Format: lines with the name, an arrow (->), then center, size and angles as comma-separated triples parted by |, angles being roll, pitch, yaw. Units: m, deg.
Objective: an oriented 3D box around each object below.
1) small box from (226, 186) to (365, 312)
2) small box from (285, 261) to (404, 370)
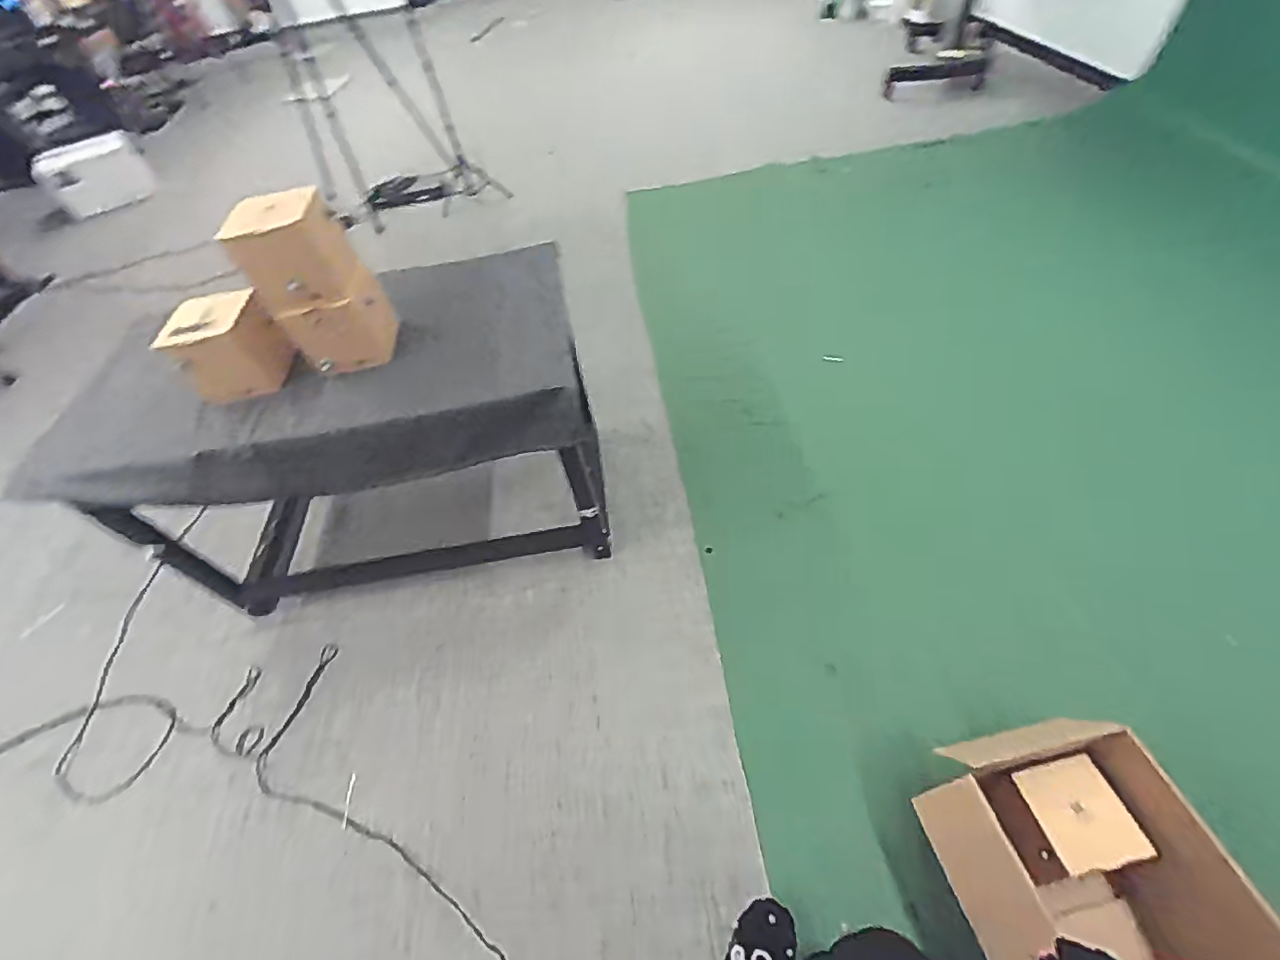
small box -> -0.708, -0.483, 1.138 | 0.168, 0.176, 0.179 | -12, 52, 0
small box -> -0.672, -0.374, 1.256 | 0.168, 0.176, 0.179 | -11, 50, 1
